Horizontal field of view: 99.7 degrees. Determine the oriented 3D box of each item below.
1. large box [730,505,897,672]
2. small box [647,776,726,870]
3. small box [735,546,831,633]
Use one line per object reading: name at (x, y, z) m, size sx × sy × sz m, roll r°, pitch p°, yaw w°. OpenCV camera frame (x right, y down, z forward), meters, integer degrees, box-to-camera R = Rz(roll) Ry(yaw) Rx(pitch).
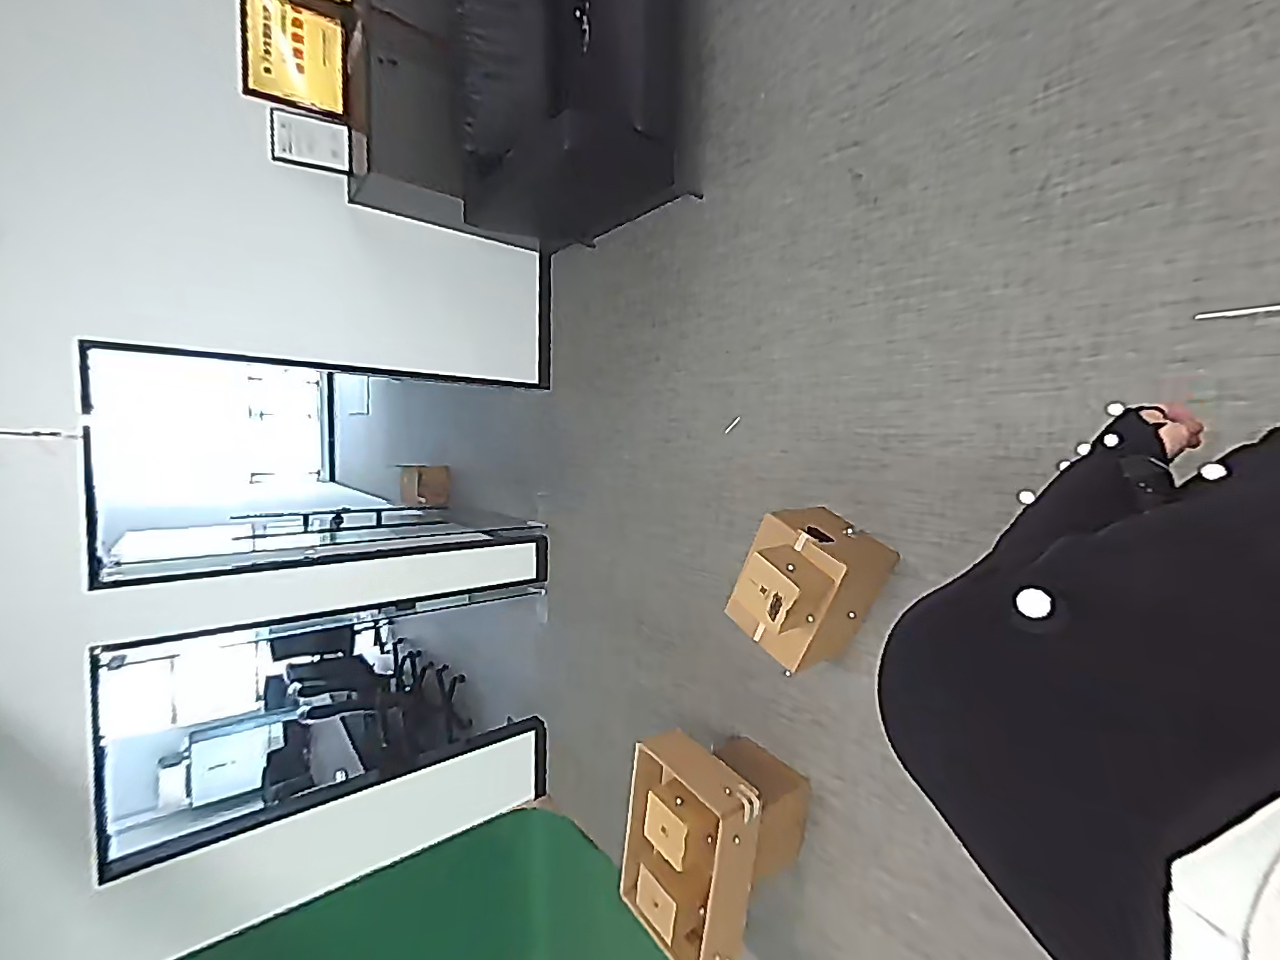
large box at (0.559, 0.333, 1.766) m, size 0.320 × 0.320 × 0.408 m, roll 39°, pitch 121°, yaw 43°
small box at (0.149, 1.090, 1.743) m, size 0.179 × 0.176 × 0.168 m, roll 17°, pitch 105°, yaw 47°
small box at (0.414, 0.305, 1.553) m, size 0.179 × 0.176 × 0.168 m, roll 42°, pitch 122°, yaw 40°
